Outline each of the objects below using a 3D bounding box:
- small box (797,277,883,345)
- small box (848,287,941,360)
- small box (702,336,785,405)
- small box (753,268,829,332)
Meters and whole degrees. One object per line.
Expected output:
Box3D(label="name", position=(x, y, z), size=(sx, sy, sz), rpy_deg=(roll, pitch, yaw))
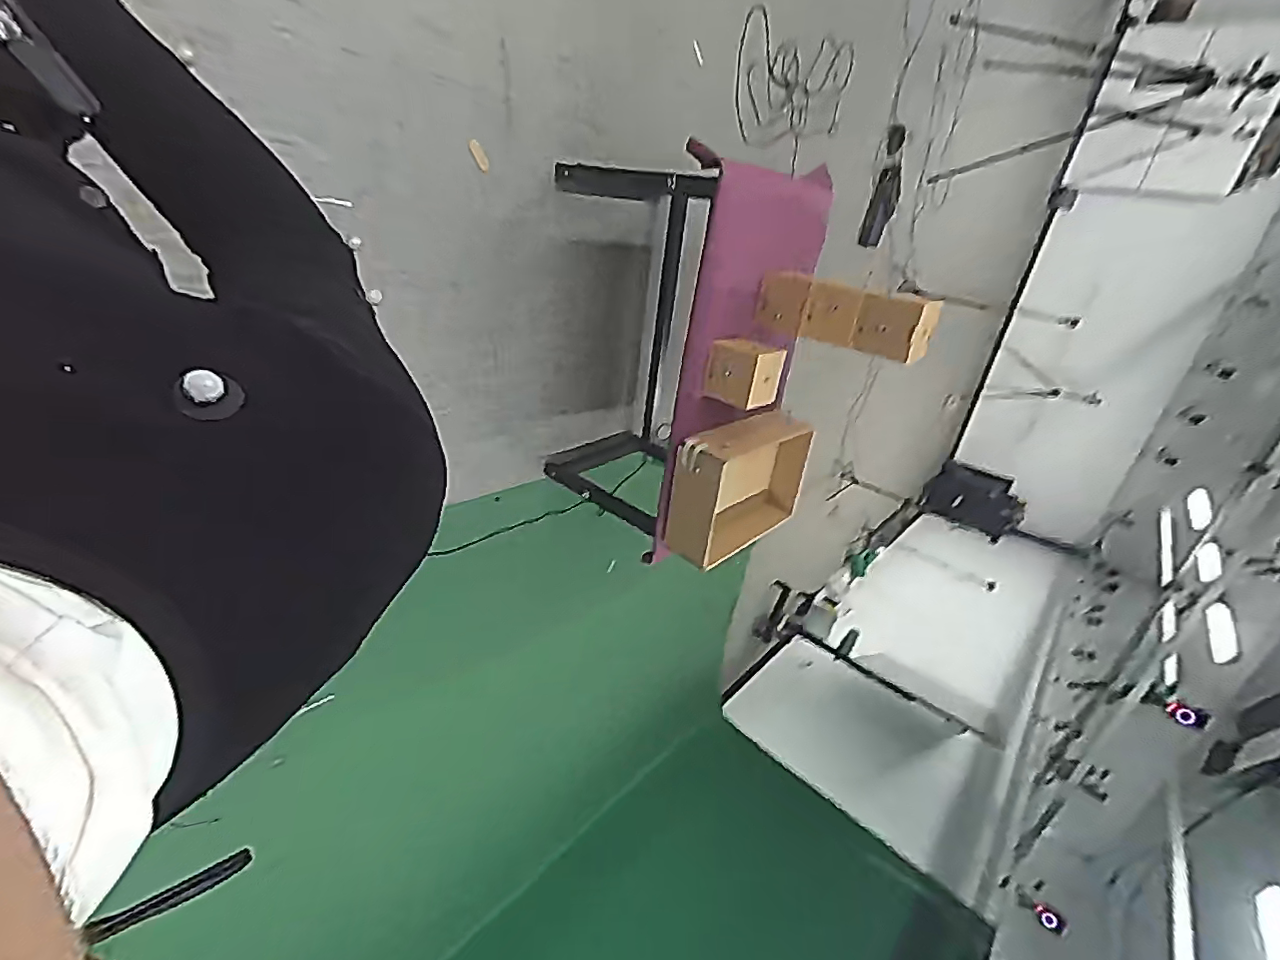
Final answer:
Box3D(label="small box", position=(0.602, -0.516, 1.640), size=(0.179, 0.176, 0.168), rpy_deg=(-22, 130, -44))
Box3D(label="small box", position=(0.725, -0.453, 1.551), size=(0.179, 0.176, 0.168), rpy_deg=(-21, 130, -43))
Box3D(label="small box", position=(0.313, -0.341, 1.664), size=(0.179, 0.176, 0.168), rpy_deg=(-20, 129, -46))
Box3D(label="small box", position=(0.486, -0.579, 1.734), size=(0.179, 0.176, 0.168), rpy_deg=(-21, 129, -44))
